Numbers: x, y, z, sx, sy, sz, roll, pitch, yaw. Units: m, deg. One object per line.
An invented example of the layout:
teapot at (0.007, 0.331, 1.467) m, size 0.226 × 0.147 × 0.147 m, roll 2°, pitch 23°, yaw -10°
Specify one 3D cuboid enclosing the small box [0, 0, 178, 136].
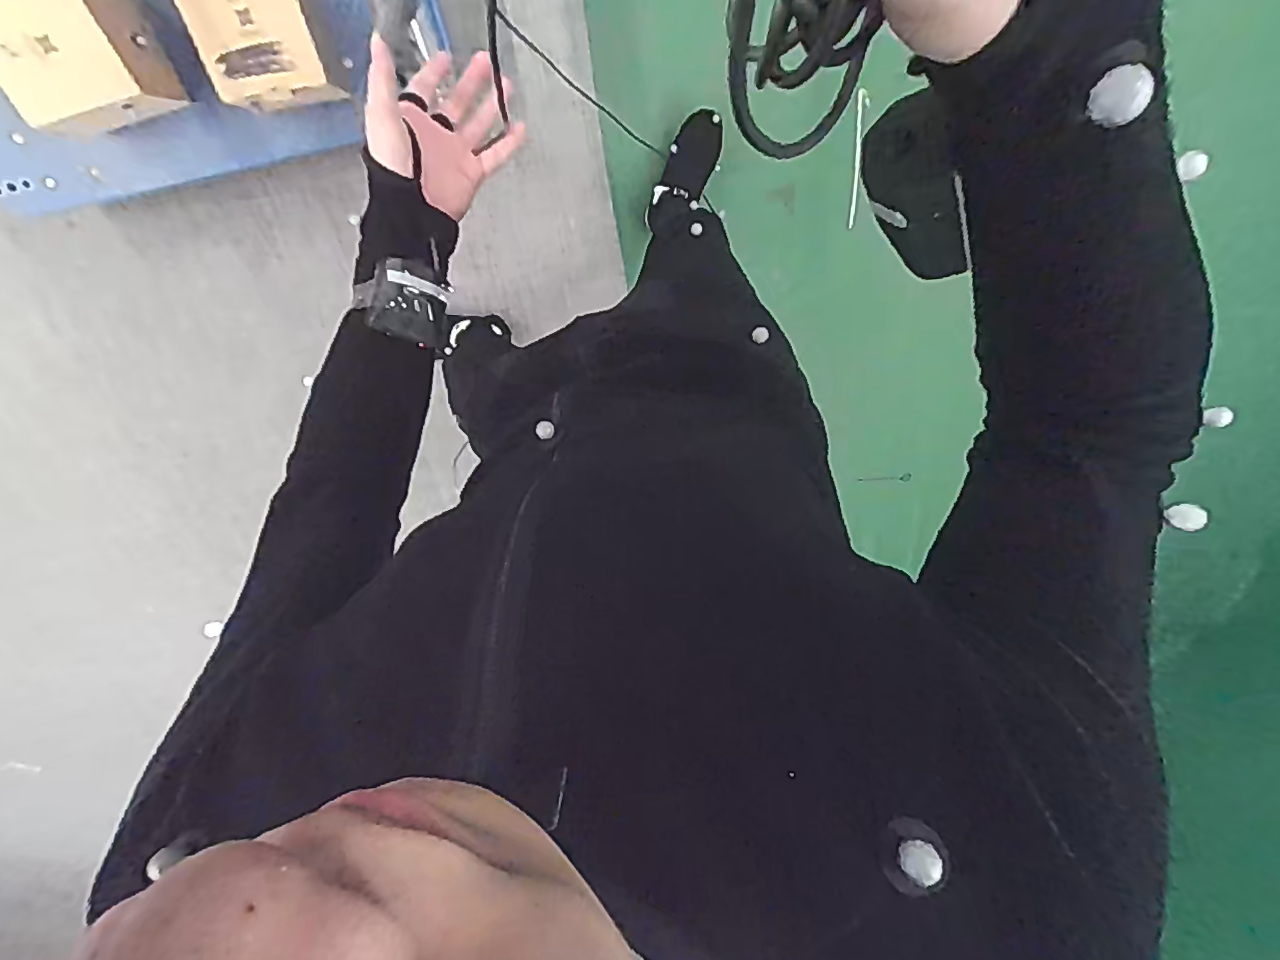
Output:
small box at (-0.881, -0.658, 0.846) m, size 0.179 × 0.176 × 0.168 m, roll -20°, pitch 122°, yaw -2°
